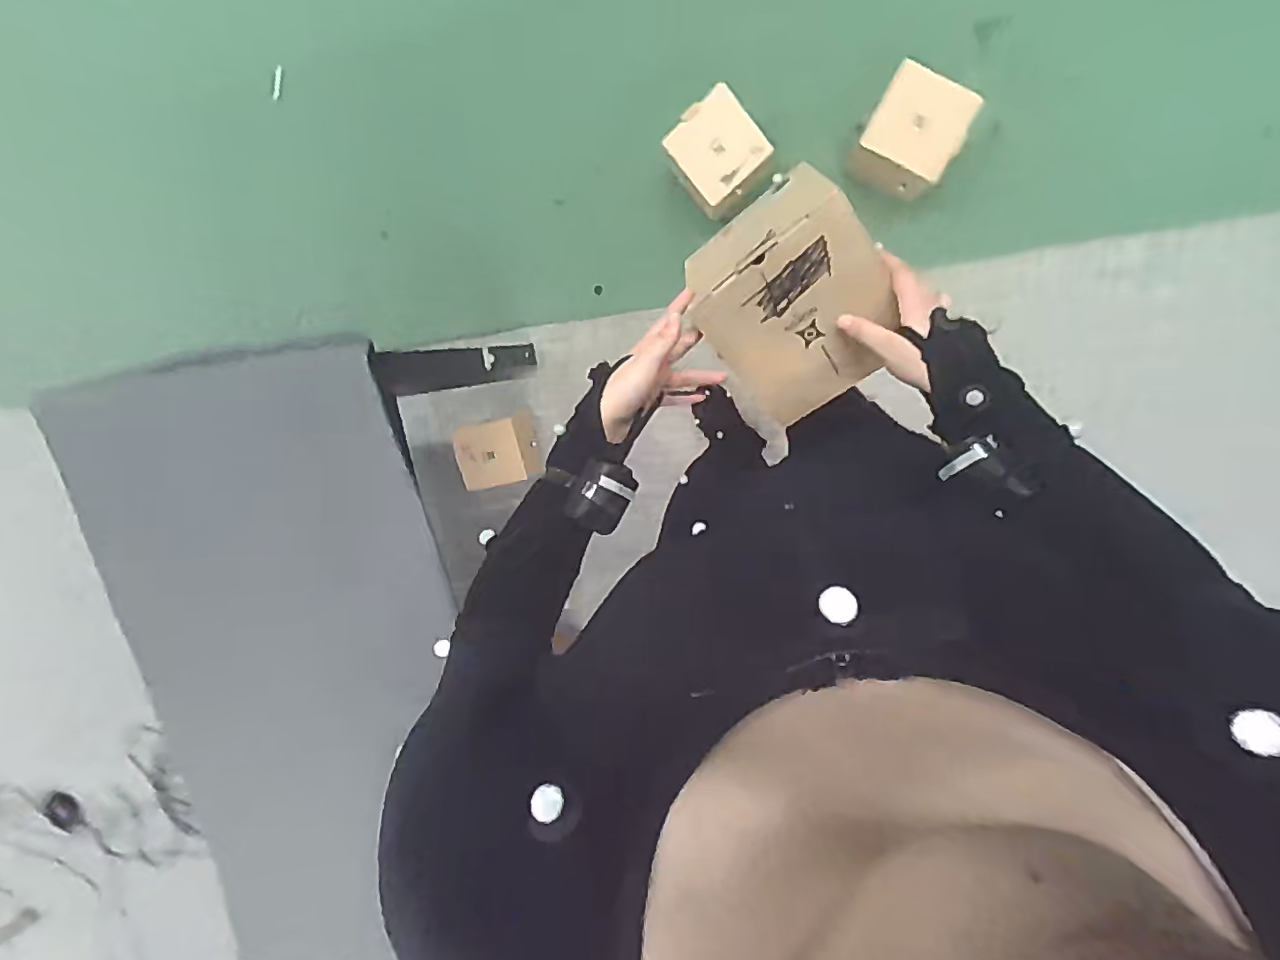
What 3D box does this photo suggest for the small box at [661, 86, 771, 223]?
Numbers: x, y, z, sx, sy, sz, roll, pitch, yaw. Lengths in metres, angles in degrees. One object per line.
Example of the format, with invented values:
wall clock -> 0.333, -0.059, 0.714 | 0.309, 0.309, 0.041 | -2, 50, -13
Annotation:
small box -> 0.167, -0.708, 1.203 | 0.168, 0.176, 0.179 | -39, 95, 15

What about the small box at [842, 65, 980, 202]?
small box -> 0.559, -0.717, 1.145 | 0.179, 0.176, 0.168 | 27, 105, 1

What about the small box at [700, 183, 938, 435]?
small box -> 0.176, -0.188, 0.579 | 0.168, 0.176, 0.179 | -32, 120, 26

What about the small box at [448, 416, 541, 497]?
small box -> -0.377, -0.069, 1.444 | 0.179, 0.176, 0.168 | -11, 102, 11
